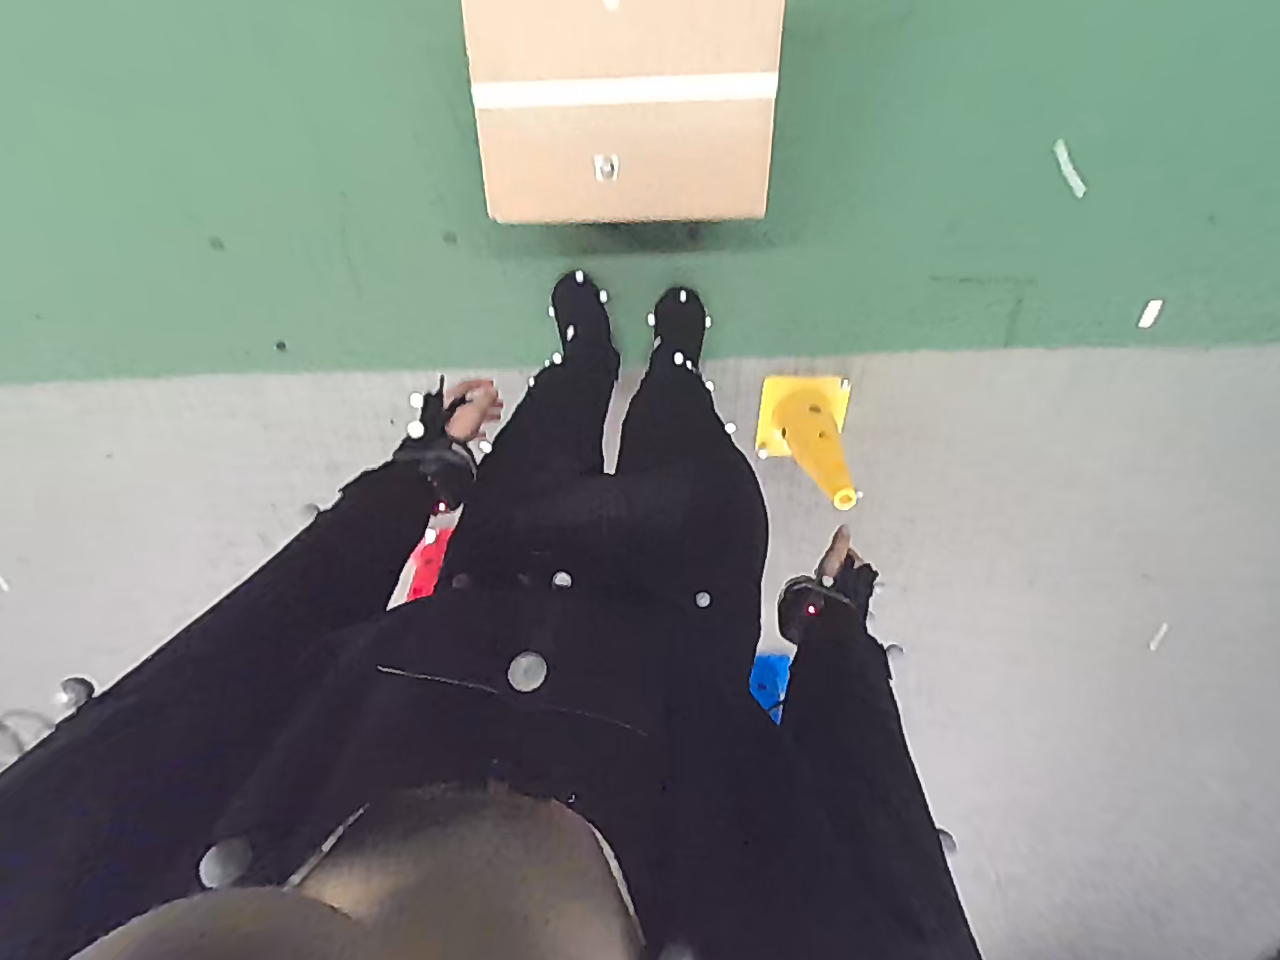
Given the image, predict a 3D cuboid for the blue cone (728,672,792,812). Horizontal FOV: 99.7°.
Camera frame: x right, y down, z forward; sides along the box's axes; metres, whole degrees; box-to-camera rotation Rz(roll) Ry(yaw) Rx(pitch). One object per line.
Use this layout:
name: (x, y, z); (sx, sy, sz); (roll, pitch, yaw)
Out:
blue cone: (0.366, 0.748, 1.541); (0.192, 0.380, 0.193); (-1, 119, 2)
